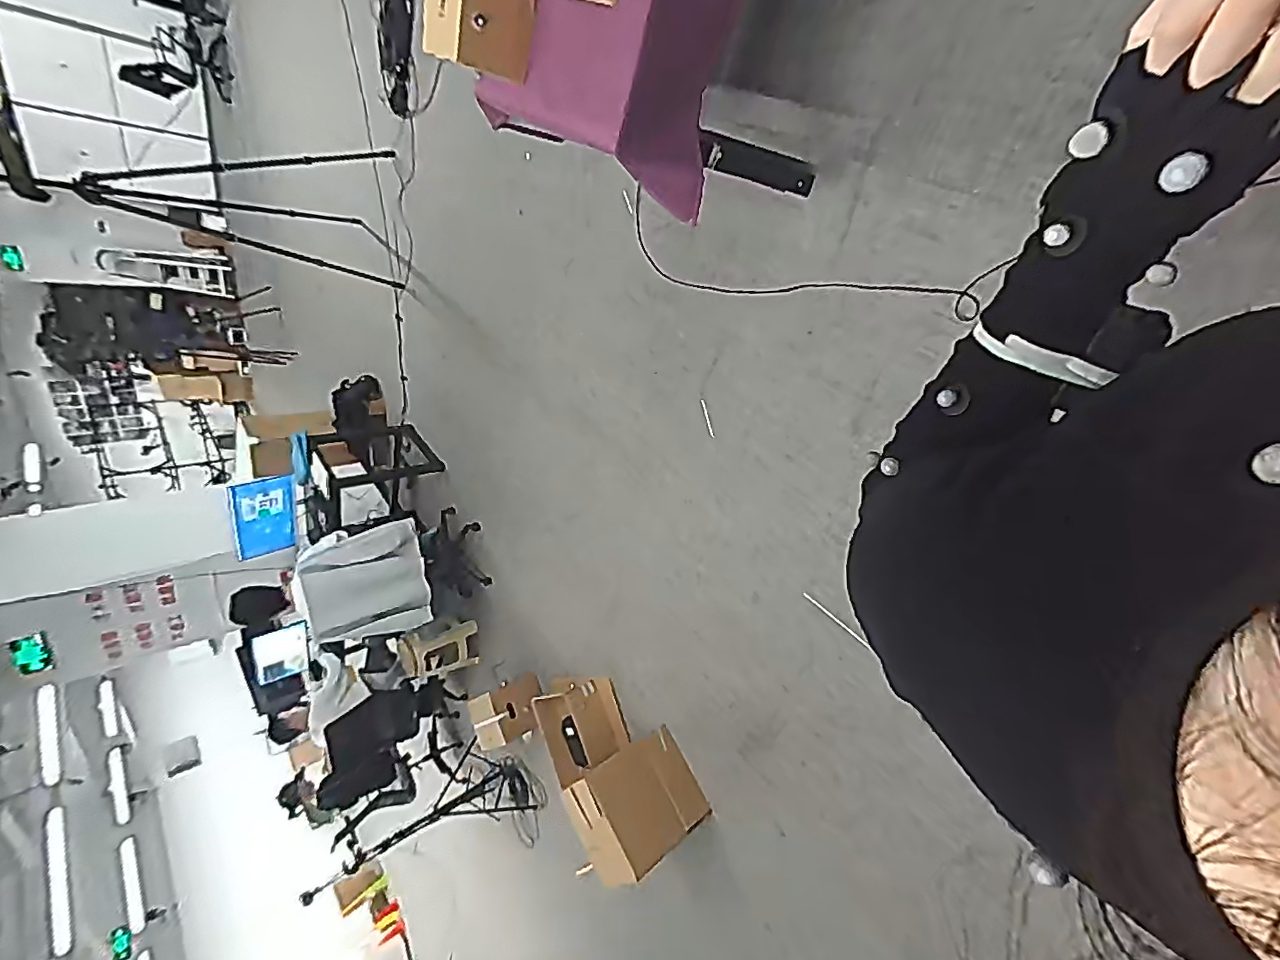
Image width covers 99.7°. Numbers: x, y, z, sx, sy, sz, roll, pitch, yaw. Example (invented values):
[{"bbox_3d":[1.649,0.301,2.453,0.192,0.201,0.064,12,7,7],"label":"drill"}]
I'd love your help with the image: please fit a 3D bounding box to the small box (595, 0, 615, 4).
[{"bbox_3d":[-0.123,-0.974,0.940,0.168,0.176,0.179,44,129,31],"label":"small box"}]
